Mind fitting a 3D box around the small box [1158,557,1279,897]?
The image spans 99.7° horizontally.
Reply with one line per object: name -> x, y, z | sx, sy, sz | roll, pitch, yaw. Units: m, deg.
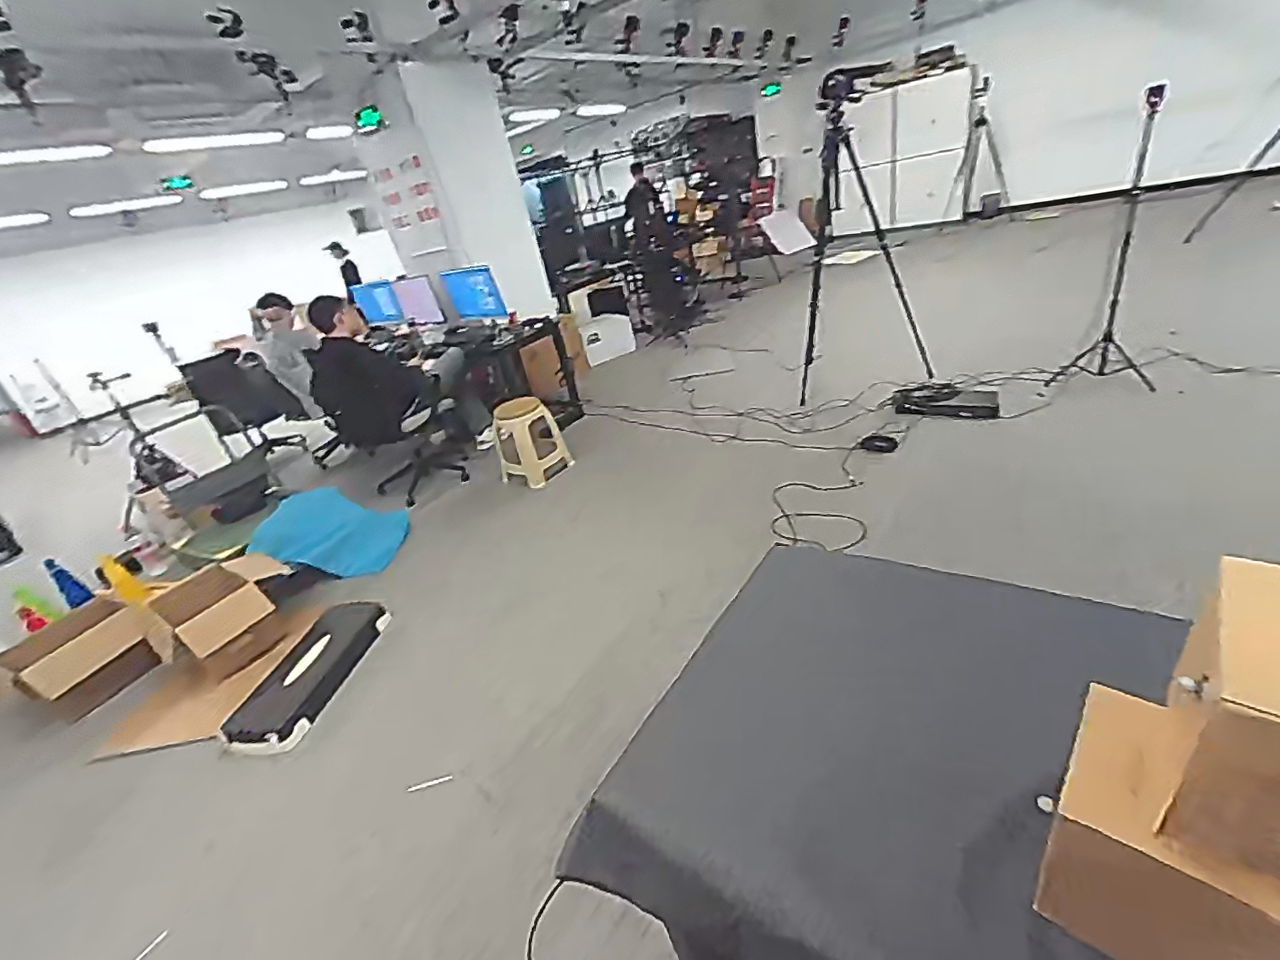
small box -> 0.505, 0.189, 0.386 | 0.168, 0.176, 0.179 | 14, 38, 41

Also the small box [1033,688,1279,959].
small box -> 0.481, 0.332, 0.480 | 0.179, 0.176, 0.168 | 14, 37, 43
